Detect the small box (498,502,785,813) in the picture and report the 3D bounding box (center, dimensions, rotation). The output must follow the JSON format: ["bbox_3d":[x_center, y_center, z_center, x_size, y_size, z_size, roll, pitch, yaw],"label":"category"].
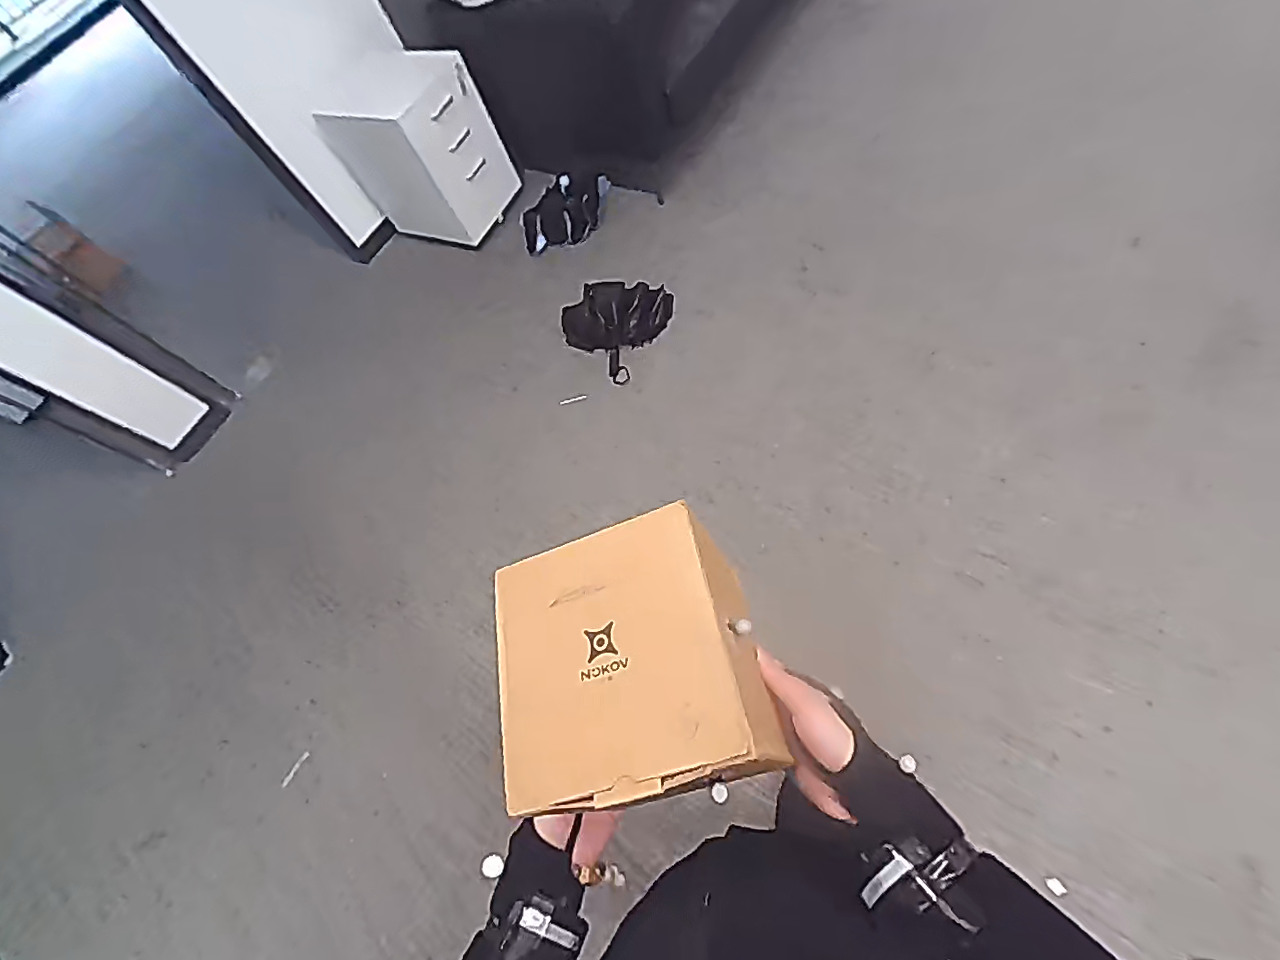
[{"bbox_3d":[0.005,0.149,0.437,0.168,0.176,0.179,-21,55,12],"label":"small box"}]
